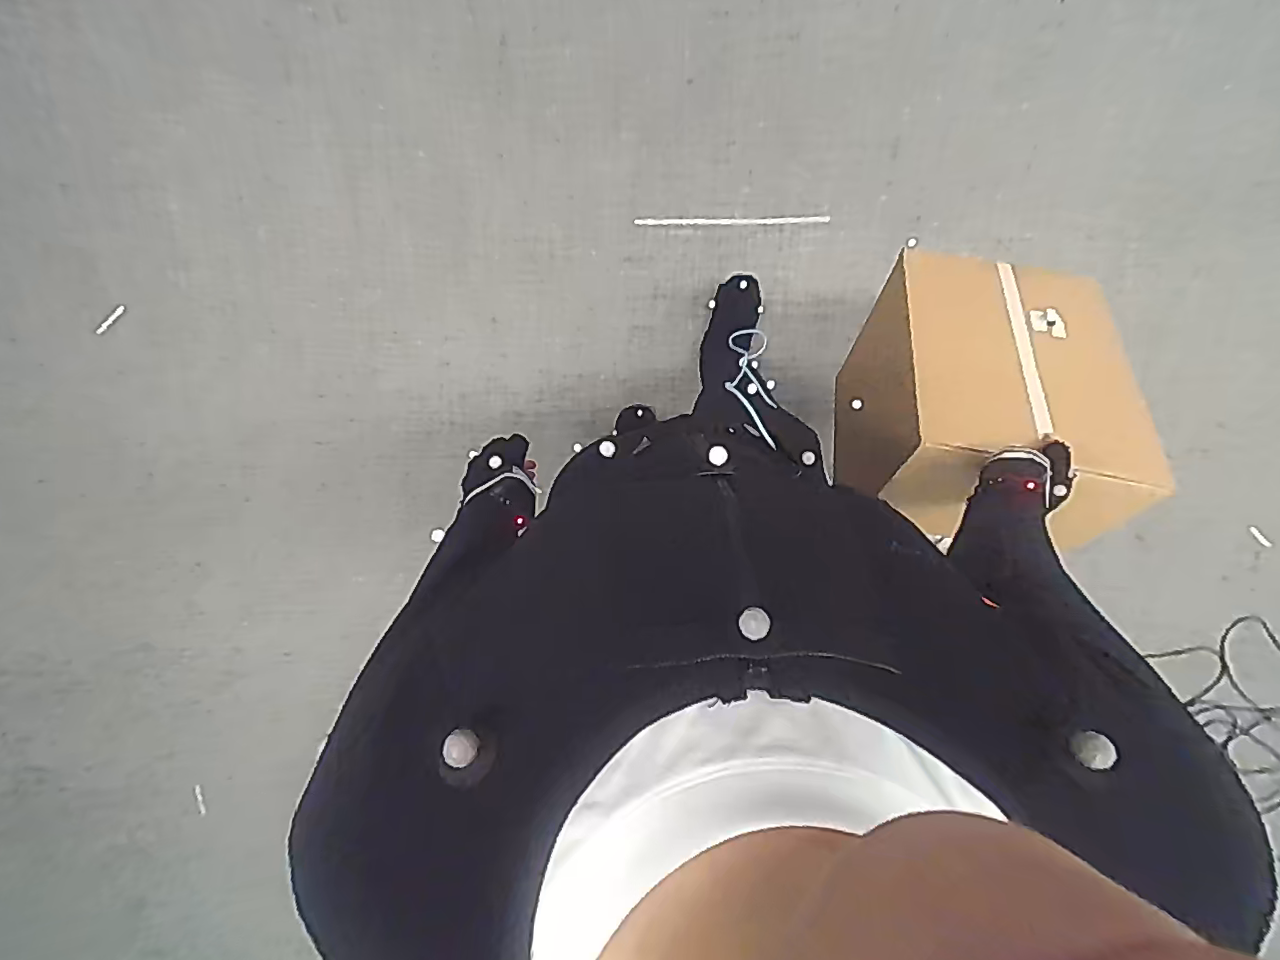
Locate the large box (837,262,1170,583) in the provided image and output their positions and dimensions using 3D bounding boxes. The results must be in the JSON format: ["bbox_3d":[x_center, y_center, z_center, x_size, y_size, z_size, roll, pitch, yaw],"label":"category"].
[{"bbox_3d":[0.532,-0.089,0.902,0.320,0.320,0.408,12,57,3],"label":"large box"}]
